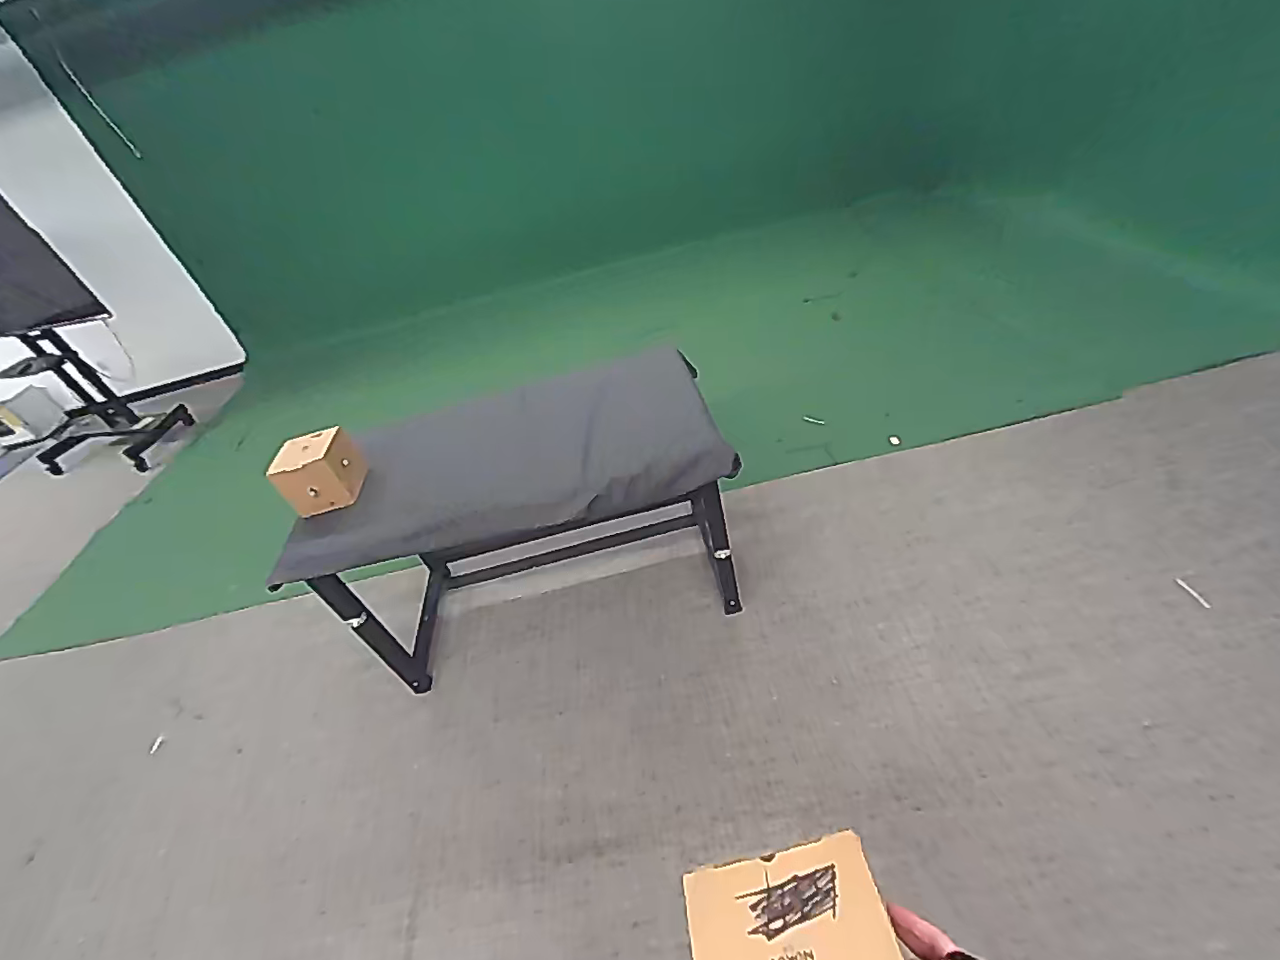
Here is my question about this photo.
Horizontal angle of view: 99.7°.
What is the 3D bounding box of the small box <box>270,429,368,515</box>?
[{"bbox_3d":[-0.925,-0.016,1.580,0.168,0.176,0.179,-15,39,-1],"label":"small box"}]
